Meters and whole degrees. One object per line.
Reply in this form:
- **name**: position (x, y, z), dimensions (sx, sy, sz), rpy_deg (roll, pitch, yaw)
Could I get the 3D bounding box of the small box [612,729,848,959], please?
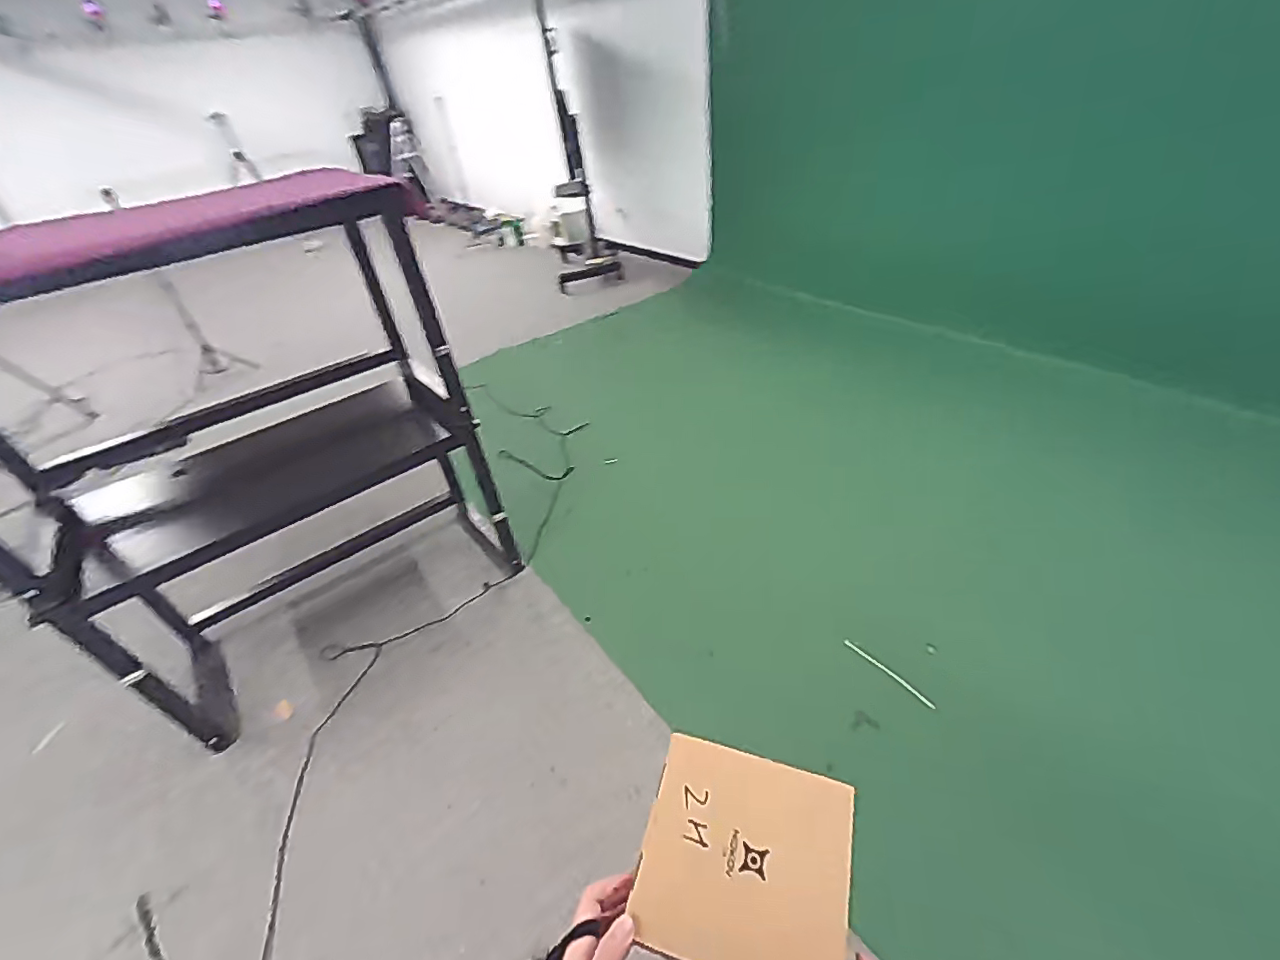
- **small box**: position (0.089, 0.374, 0.523), dimensions (0.179, 0.176, 0.168), rpy_deg (10, 48, 15)
